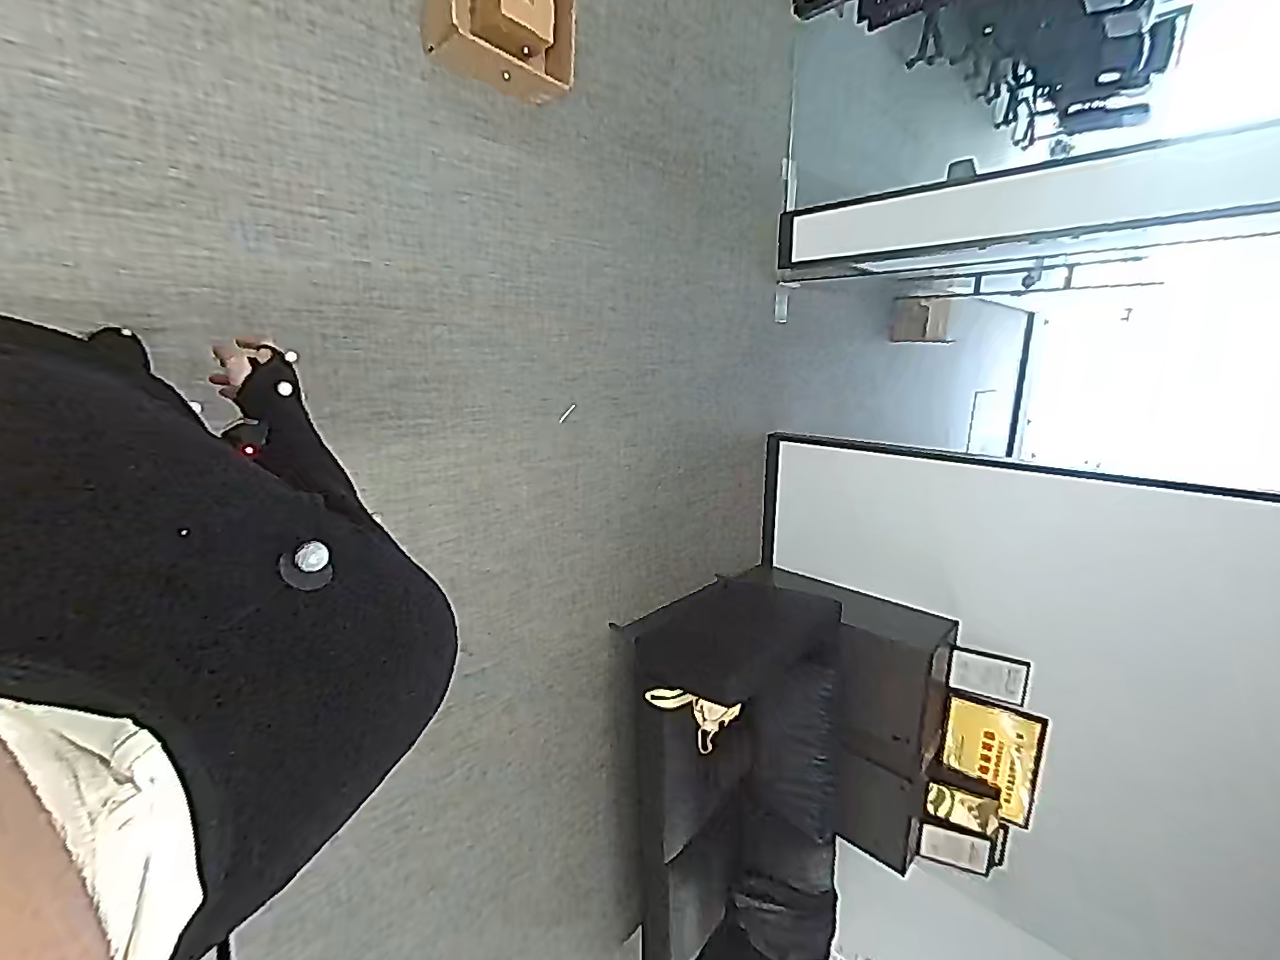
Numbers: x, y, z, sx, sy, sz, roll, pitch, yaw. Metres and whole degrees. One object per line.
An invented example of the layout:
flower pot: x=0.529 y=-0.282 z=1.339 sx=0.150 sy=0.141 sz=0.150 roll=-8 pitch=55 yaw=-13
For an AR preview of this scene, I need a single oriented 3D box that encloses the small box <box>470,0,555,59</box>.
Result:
small box: x=-0.362 y=-1.347 z=1.540 sx=0.179 sy=0.176 sz=0.168 roll=-7 pitch=104 yaw=-45
